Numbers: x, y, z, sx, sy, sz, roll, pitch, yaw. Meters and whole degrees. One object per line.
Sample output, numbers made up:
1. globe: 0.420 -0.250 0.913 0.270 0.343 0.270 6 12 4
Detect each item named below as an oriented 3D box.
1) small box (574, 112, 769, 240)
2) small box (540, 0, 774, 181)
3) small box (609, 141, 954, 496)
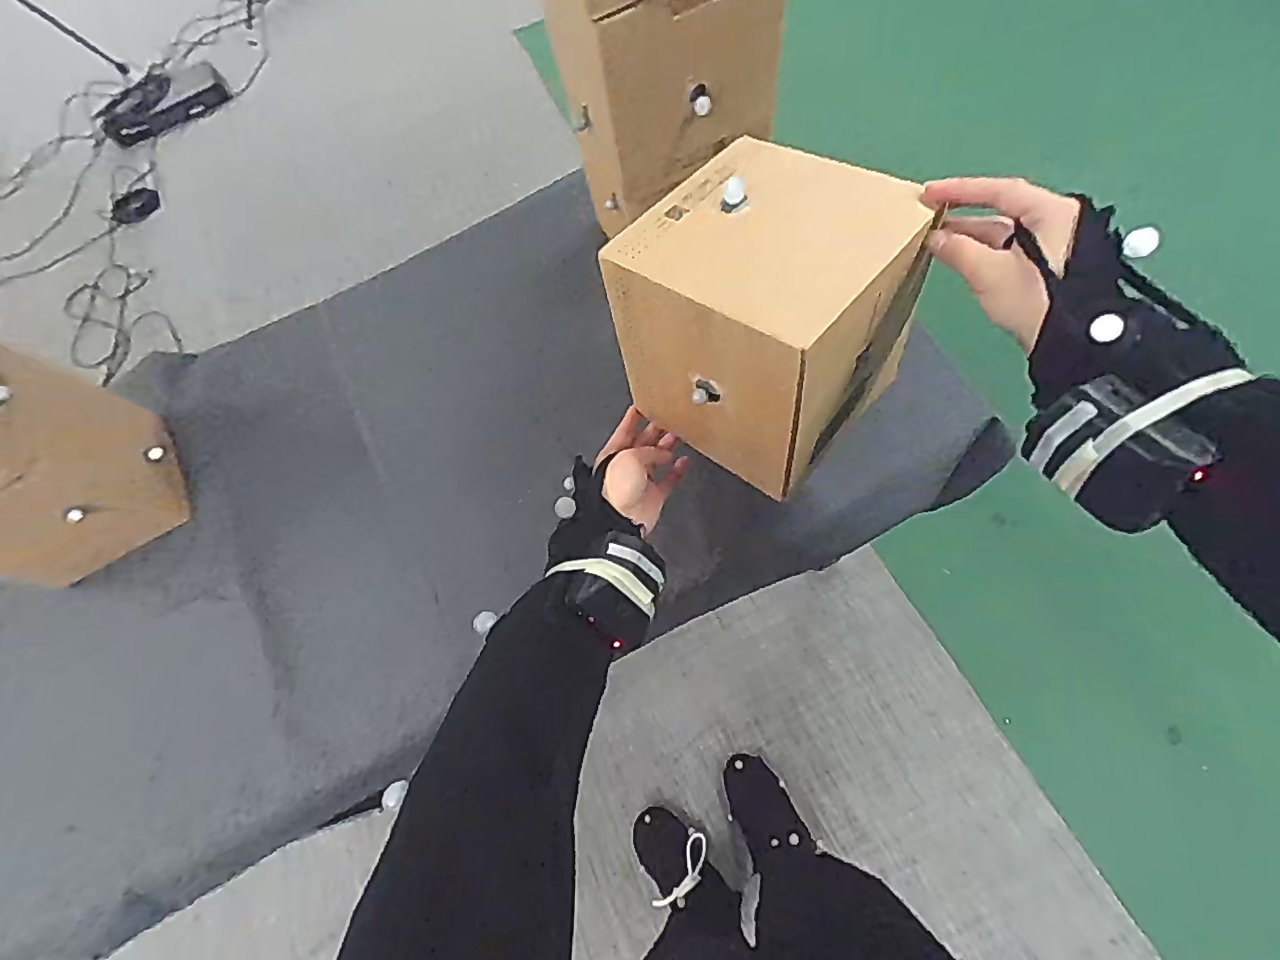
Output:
1. small box: 0.036 -0.365 0.655 0.168 0.176 0.179 -25 70 -2
2. small box: 0.014 -0.414 0.501 0.168 0.176 0.179 -25 70 -2
3. small box: 0.099 -0.126 0.427 0.176 0.179 0.168 36 70 27
